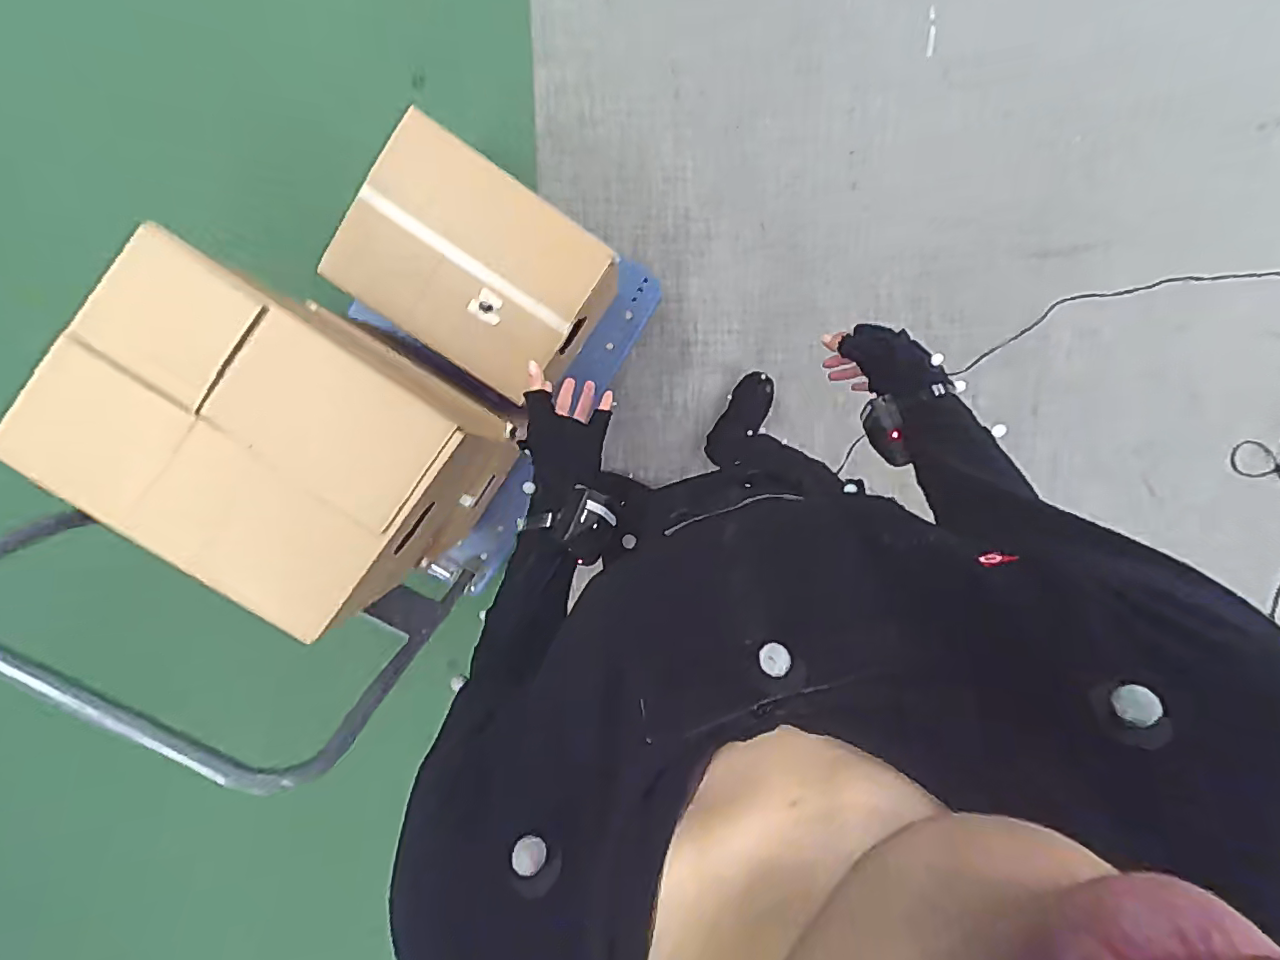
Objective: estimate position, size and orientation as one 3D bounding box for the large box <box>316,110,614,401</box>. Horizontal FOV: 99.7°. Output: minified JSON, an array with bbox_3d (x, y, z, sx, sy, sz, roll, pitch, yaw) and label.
[{"bbox_3d":[-0.302,-0.390,1.053,0.408,0.320,0.320,33,95,-7],"label":"large box"}]
